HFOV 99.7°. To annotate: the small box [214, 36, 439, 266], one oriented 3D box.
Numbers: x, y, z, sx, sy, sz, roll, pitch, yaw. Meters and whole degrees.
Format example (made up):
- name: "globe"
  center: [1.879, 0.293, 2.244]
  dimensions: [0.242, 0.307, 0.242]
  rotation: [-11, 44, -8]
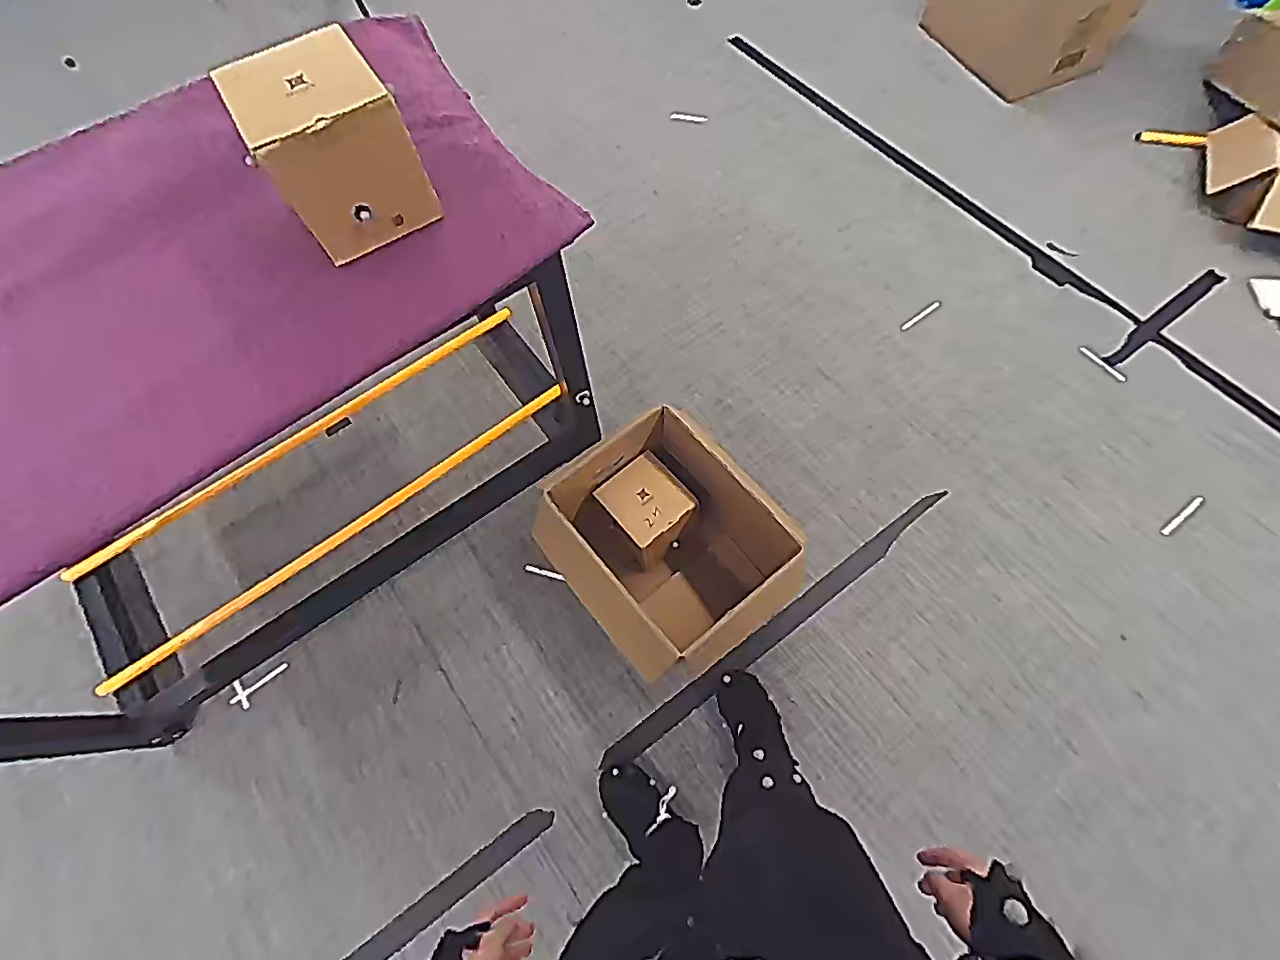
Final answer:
- name: "small box"
  center: [-0.397, -0.422, 0.709]
  dimensions: [0.168, 0.176, 0.179]
  rotation: [-32, 69, -10]
